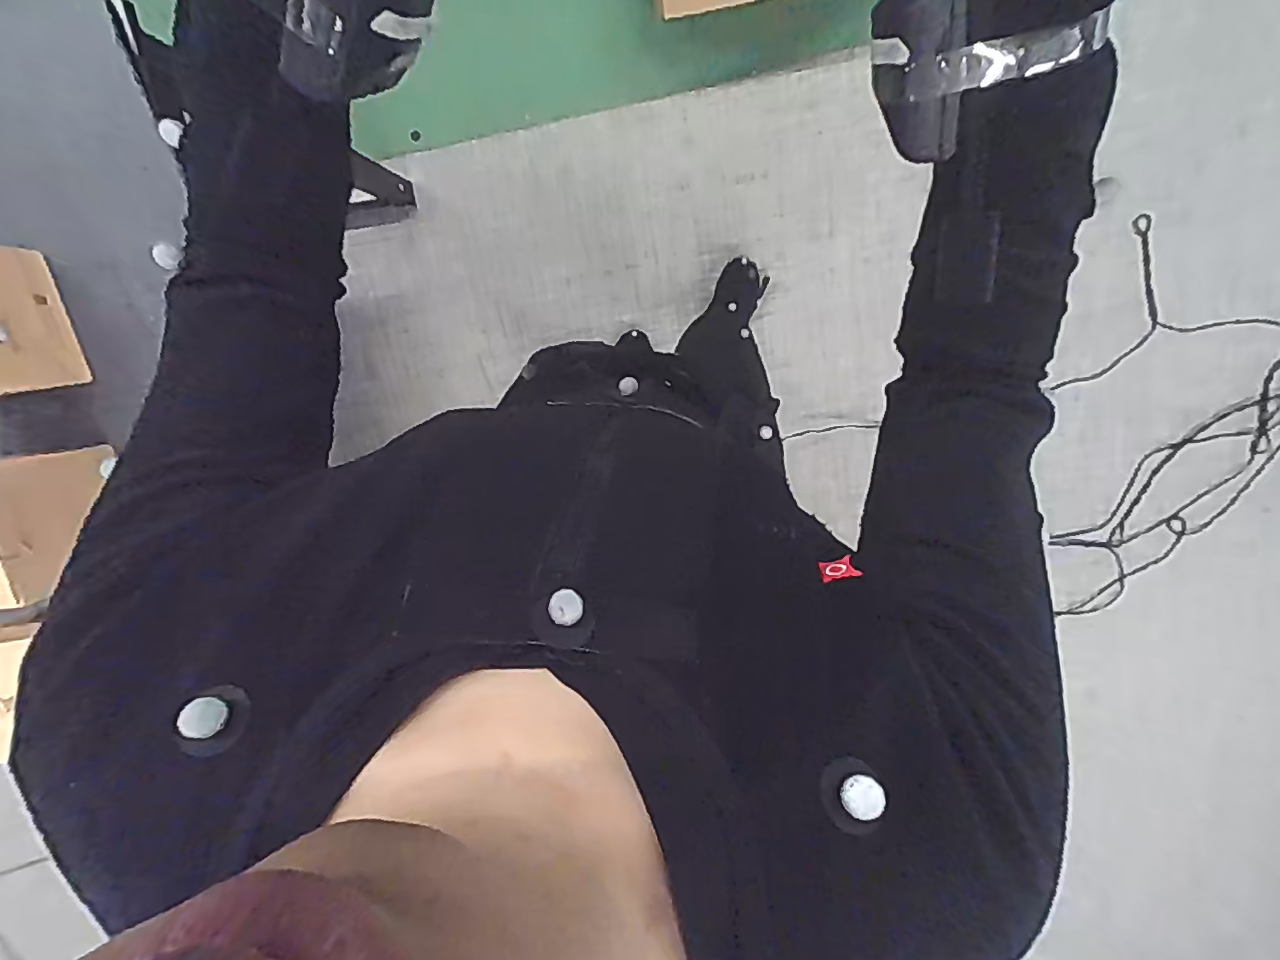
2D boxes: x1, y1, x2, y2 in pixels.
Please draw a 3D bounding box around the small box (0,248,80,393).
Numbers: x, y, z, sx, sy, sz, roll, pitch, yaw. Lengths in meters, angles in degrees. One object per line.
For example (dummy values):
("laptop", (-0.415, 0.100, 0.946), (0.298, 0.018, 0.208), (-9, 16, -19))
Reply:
("small box", (-0.834, -0.182, 0.639), (0.179, 0.176, 0.168), (-7, 105, 6))
